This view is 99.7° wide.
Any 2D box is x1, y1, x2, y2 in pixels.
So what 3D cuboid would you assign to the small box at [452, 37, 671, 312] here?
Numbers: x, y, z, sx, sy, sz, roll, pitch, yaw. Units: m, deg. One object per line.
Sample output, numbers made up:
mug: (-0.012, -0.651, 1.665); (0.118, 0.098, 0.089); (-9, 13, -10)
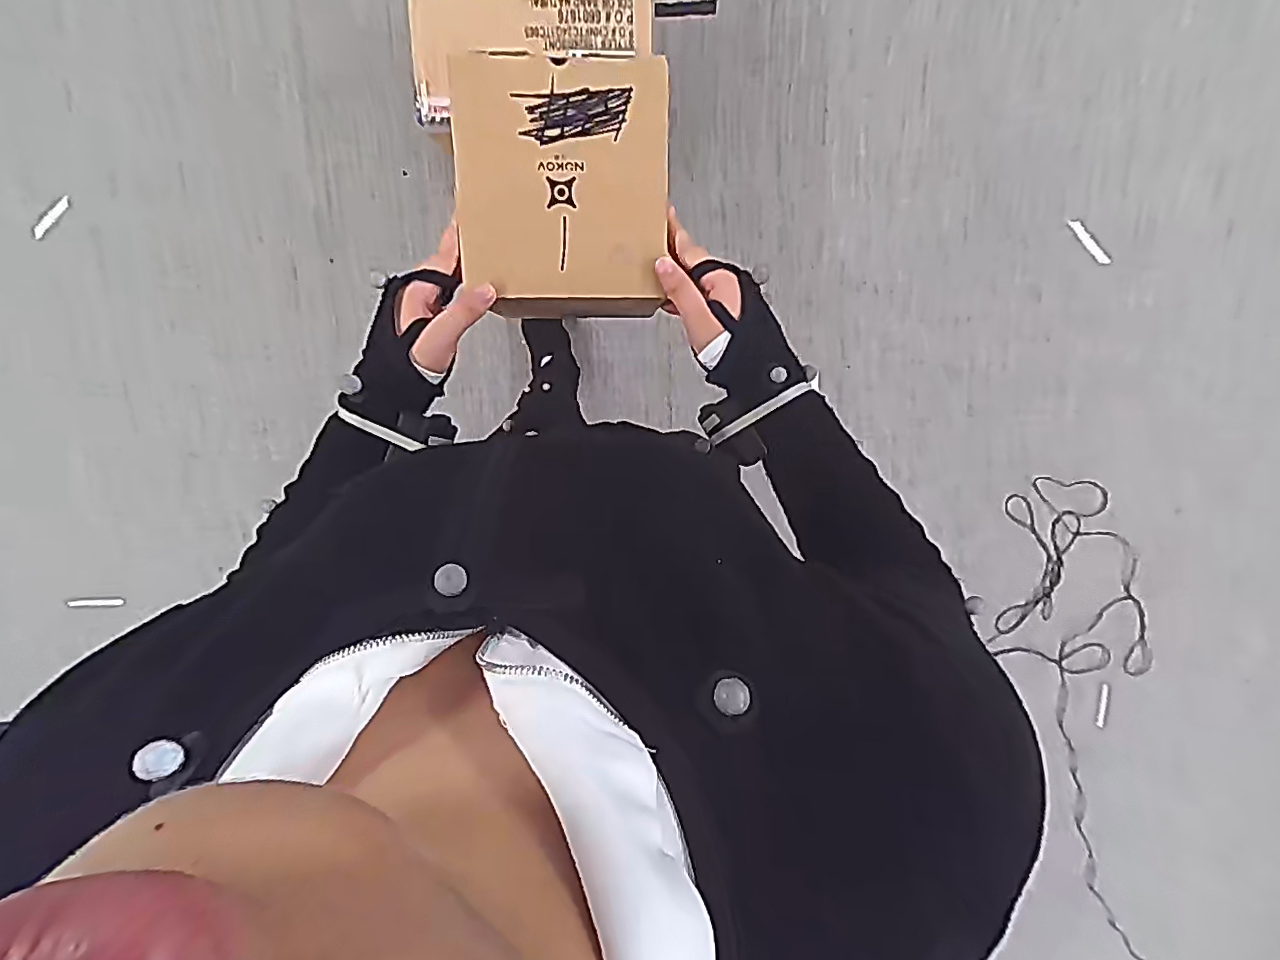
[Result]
small box: (-0.064, -0.257, 0.497); (0.168, 0.176, 0.179); (0, 102, -3)
